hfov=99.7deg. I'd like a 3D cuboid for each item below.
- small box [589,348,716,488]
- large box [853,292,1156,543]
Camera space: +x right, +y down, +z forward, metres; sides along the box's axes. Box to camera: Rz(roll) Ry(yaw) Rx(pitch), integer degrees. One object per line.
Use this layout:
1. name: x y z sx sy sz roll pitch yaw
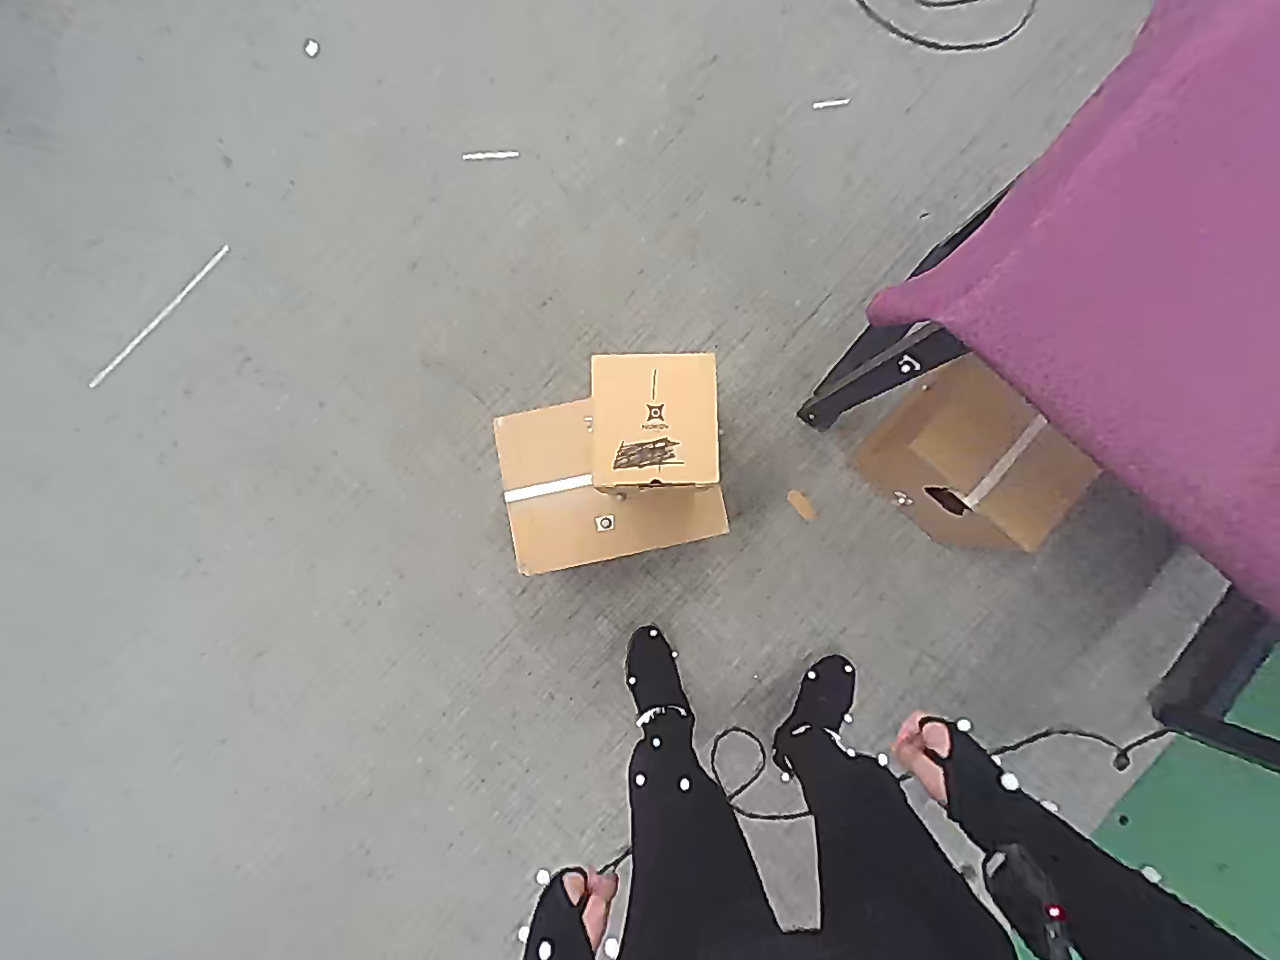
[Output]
1. small box: 0.017 -0.078 0.772 0.168 0.176 0.179 -1 85 0
2. large box: 0.758 -0.110 1.188 0.320 0.320 0.408 42 86 1
